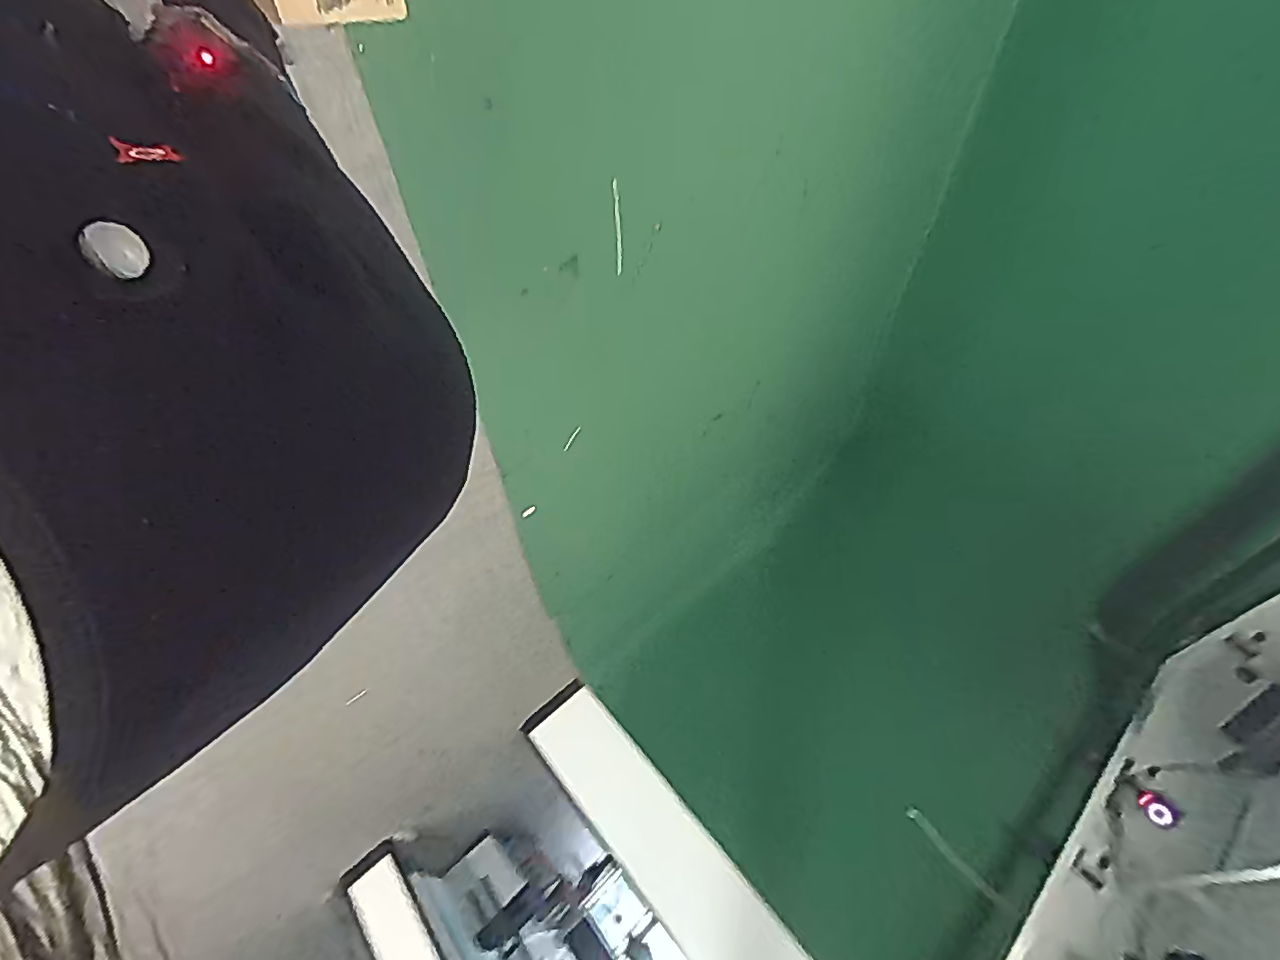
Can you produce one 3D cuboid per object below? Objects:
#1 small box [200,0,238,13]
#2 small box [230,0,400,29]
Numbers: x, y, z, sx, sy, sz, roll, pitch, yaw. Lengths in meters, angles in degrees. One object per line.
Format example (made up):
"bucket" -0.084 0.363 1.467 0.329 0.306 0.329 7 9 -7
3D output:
"small box" -0.554 -0.776 0.760 0.179 0.176 0.168 -32 143 -28
"small box" -0.441 -0.689 0.681 0.168 0.176 0.179 -32 143 -29
